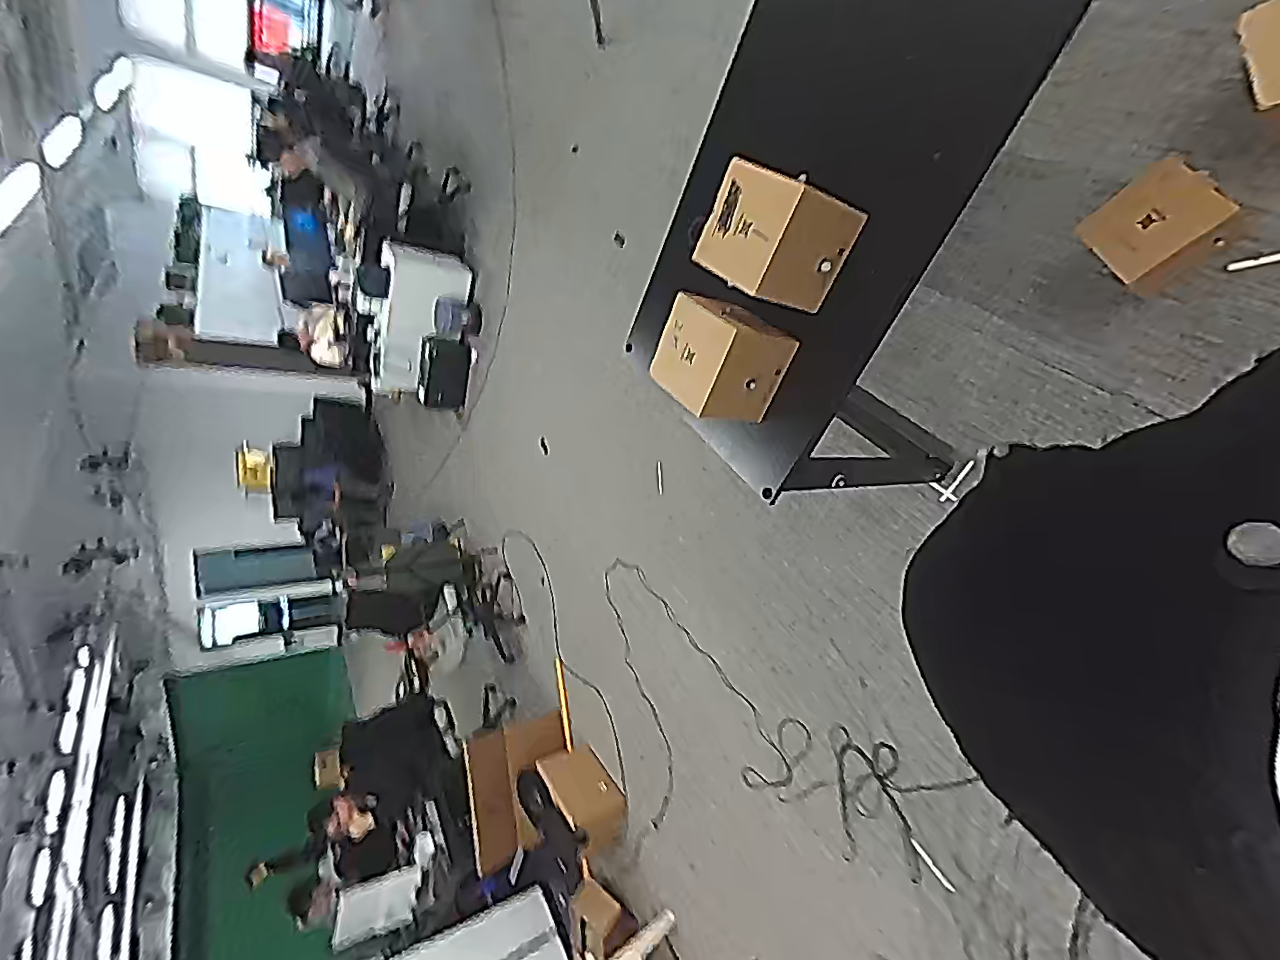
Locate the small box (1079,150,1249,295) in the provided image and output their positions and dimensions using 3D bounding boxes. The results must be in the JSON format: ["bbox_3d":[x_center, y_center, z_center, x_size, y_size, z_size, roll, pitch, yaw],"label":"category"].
[{"bbox_3d":[1.024,-0.492,1.056,0.179,0.176,0.168,-46,55,45],"label":"small box"}]

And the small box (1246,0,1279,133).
[{"bbox_3d":[1.139,-0.716,0.887,0.168,0.176,0.179,-14,81,53],"label":"small box"}]

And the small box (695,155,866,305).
[{"bbox_3d":[0.230,-0.409,0.901,0.179,0.176,0.168,51,130,38],"label":"small box"}]
